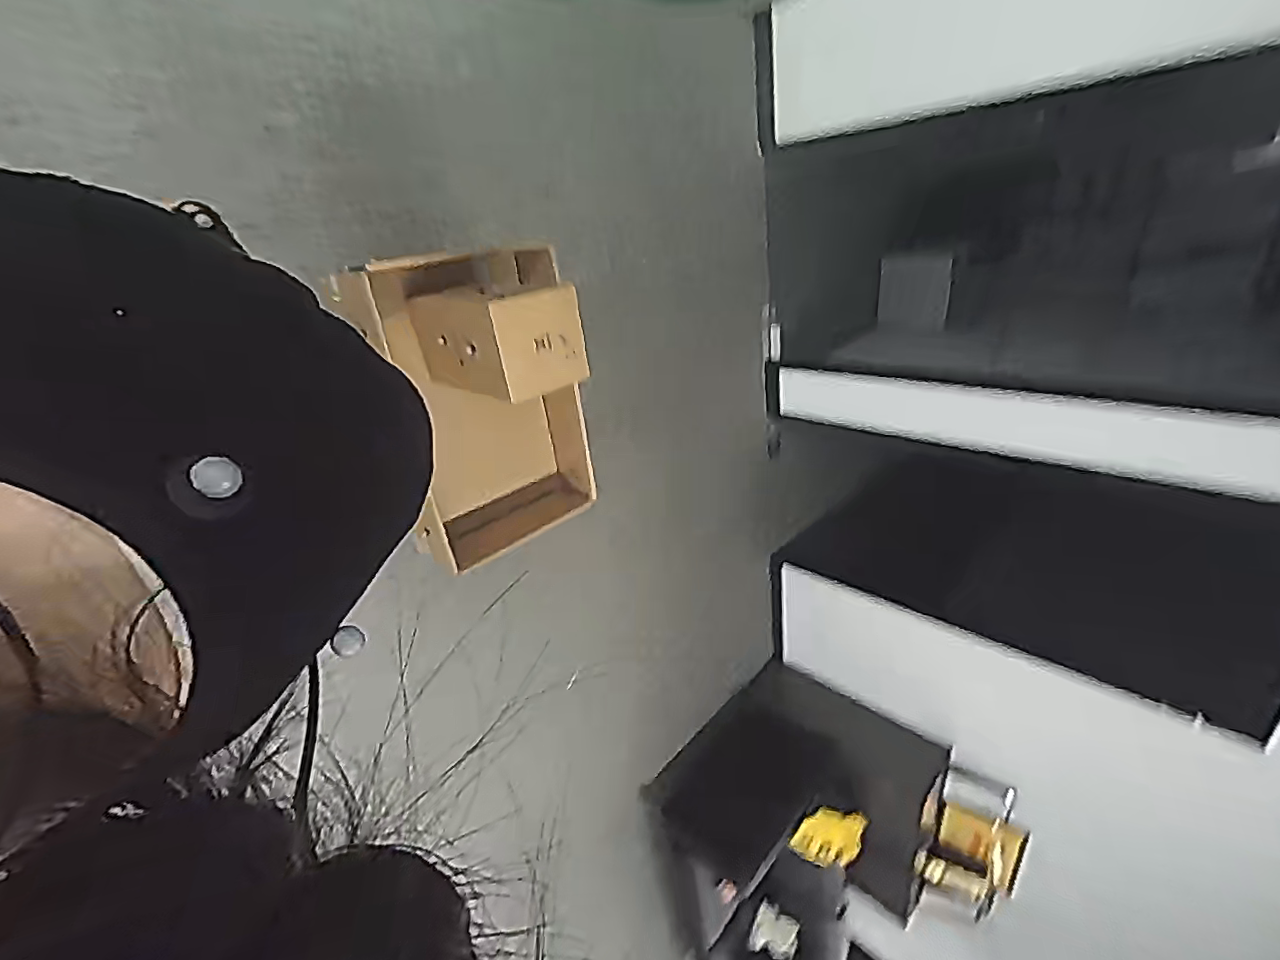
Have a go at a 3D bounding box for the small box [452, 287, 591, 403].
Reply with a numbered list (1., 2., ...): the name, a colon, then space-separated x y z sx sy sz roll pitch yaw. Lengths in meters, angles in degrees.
1. small box: -0.215 -0.245 0.962 0.179 0.176 0.168 -27 122 -37
